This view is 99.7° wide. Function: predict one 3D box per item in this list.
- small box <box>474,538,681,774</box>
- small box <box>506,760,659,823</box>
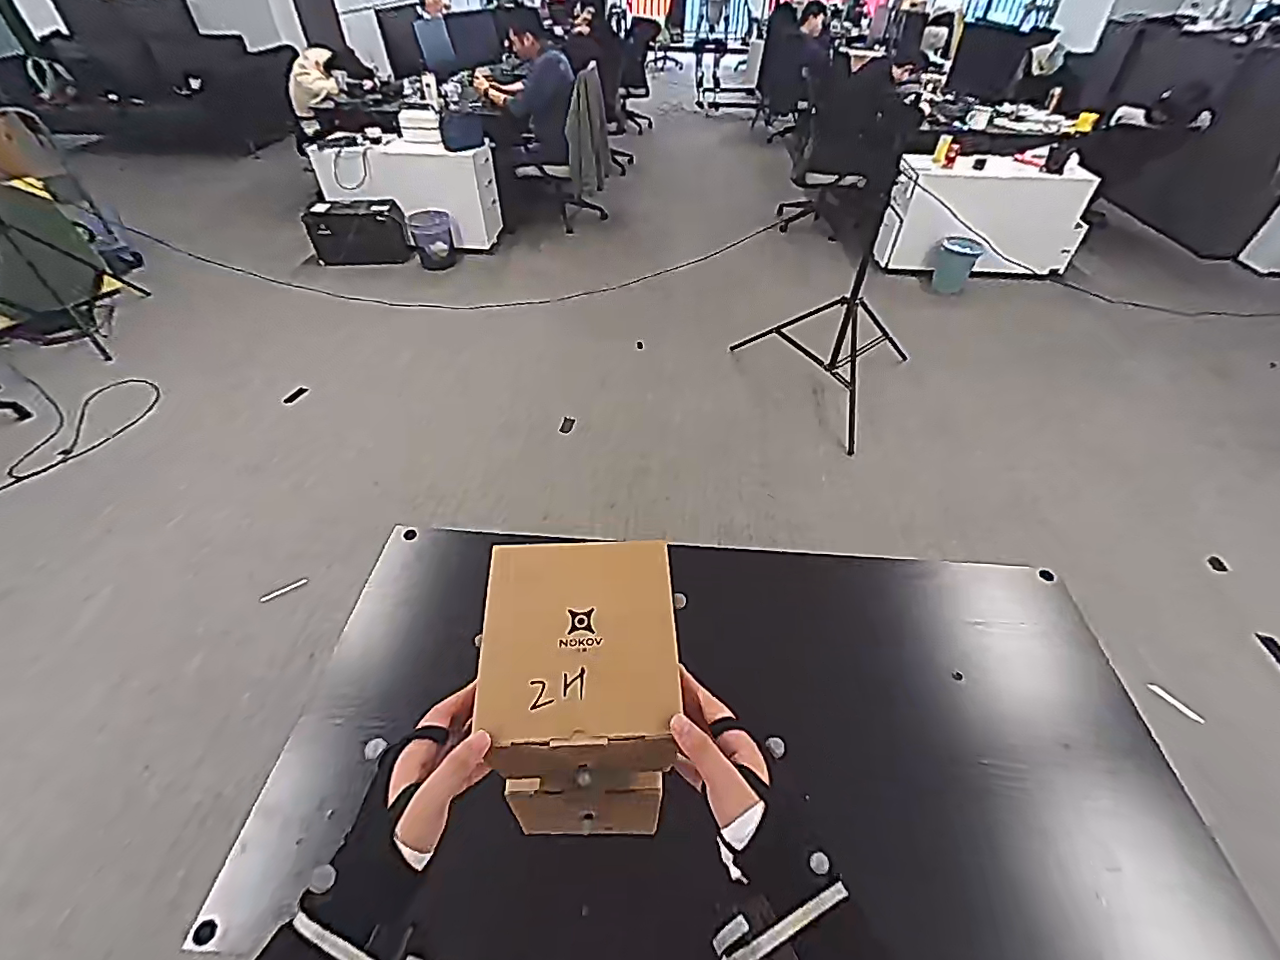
[{"bbox_3d":[-0.054,0.176,0.536,0.168,0.176,0.179,-2,53,-3],"label":"small box"},{"bbox_3d":[-0.059,0.318,0.682,0.168,0.176,0.179,0,45,-1],"label":"small box"}]
